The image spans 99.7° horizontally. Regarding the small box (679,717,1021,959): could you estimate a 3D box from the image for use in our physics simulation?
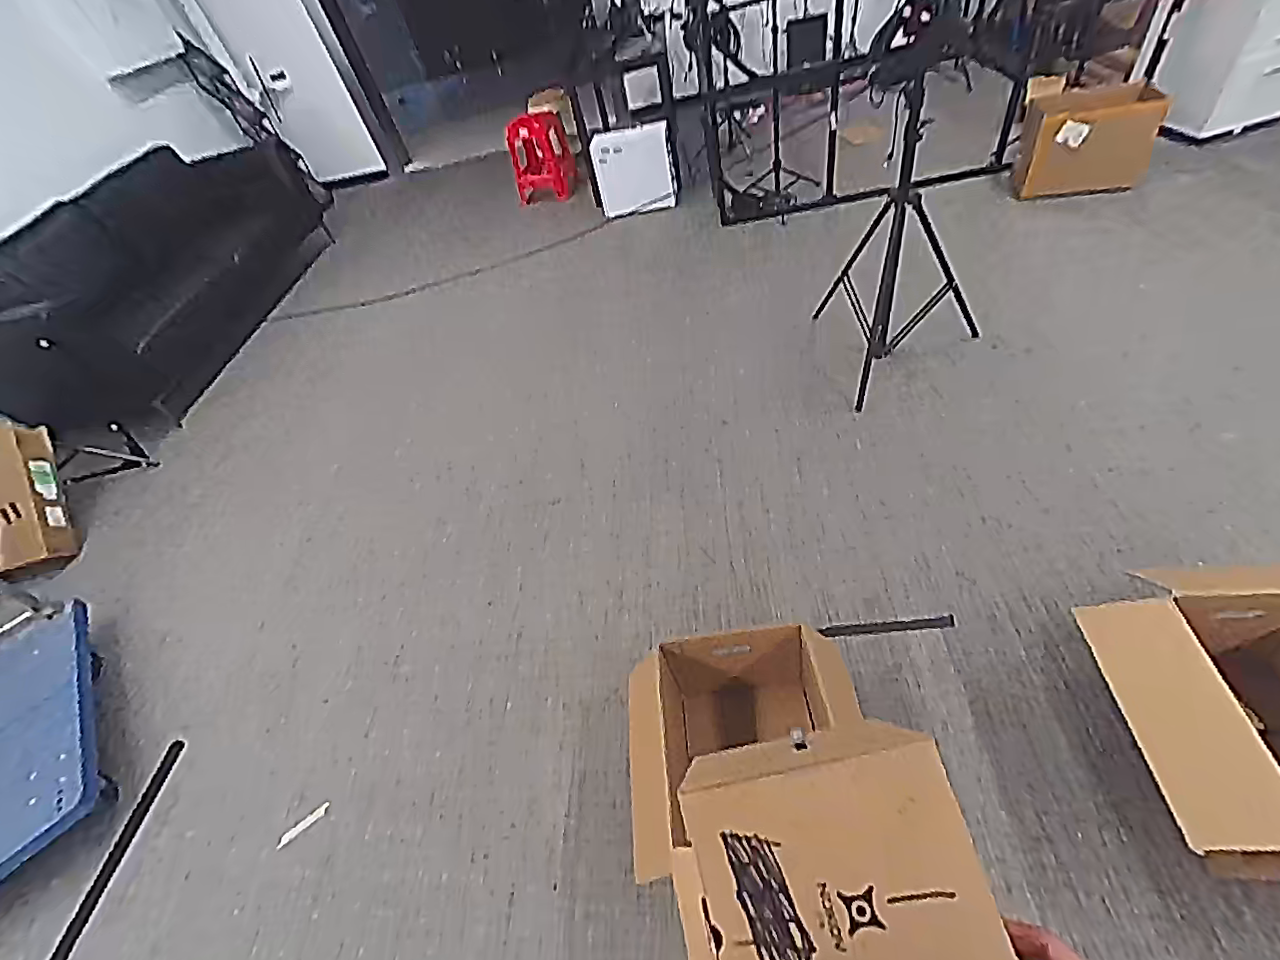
[{"bbox_3d":[0.138,0.285,0.405,0.179,0.176,0.168,-15,69,3],"label":"small box"}]
